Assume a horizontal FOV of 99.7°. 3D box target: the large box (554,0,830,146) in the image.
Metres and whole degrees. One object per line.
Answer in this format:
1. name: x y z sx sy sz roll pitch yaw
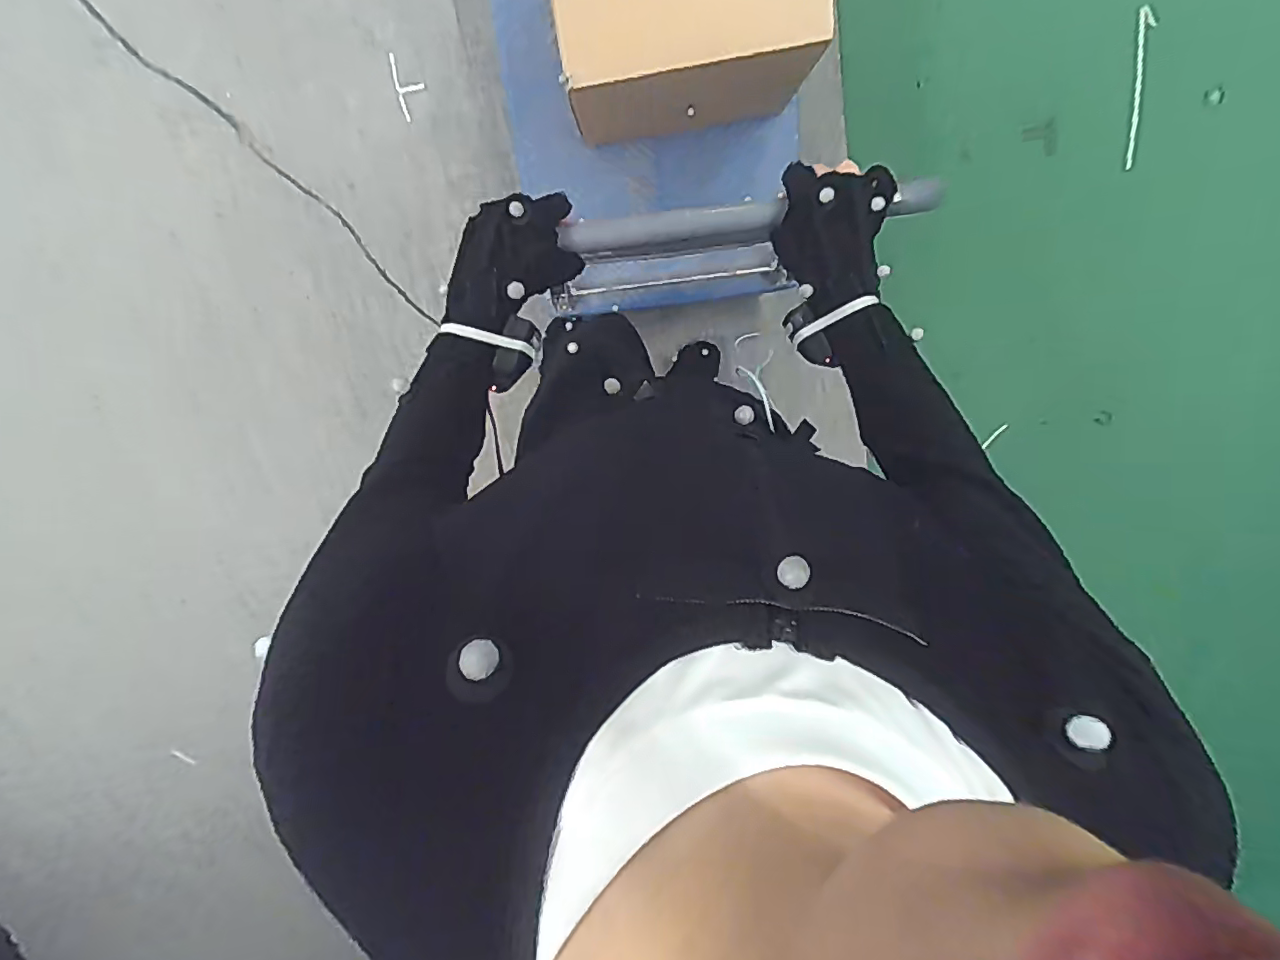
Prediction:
1. large box: 0.068 -0.817 0.921 0.408 0.320 0.320 -9 107 4
